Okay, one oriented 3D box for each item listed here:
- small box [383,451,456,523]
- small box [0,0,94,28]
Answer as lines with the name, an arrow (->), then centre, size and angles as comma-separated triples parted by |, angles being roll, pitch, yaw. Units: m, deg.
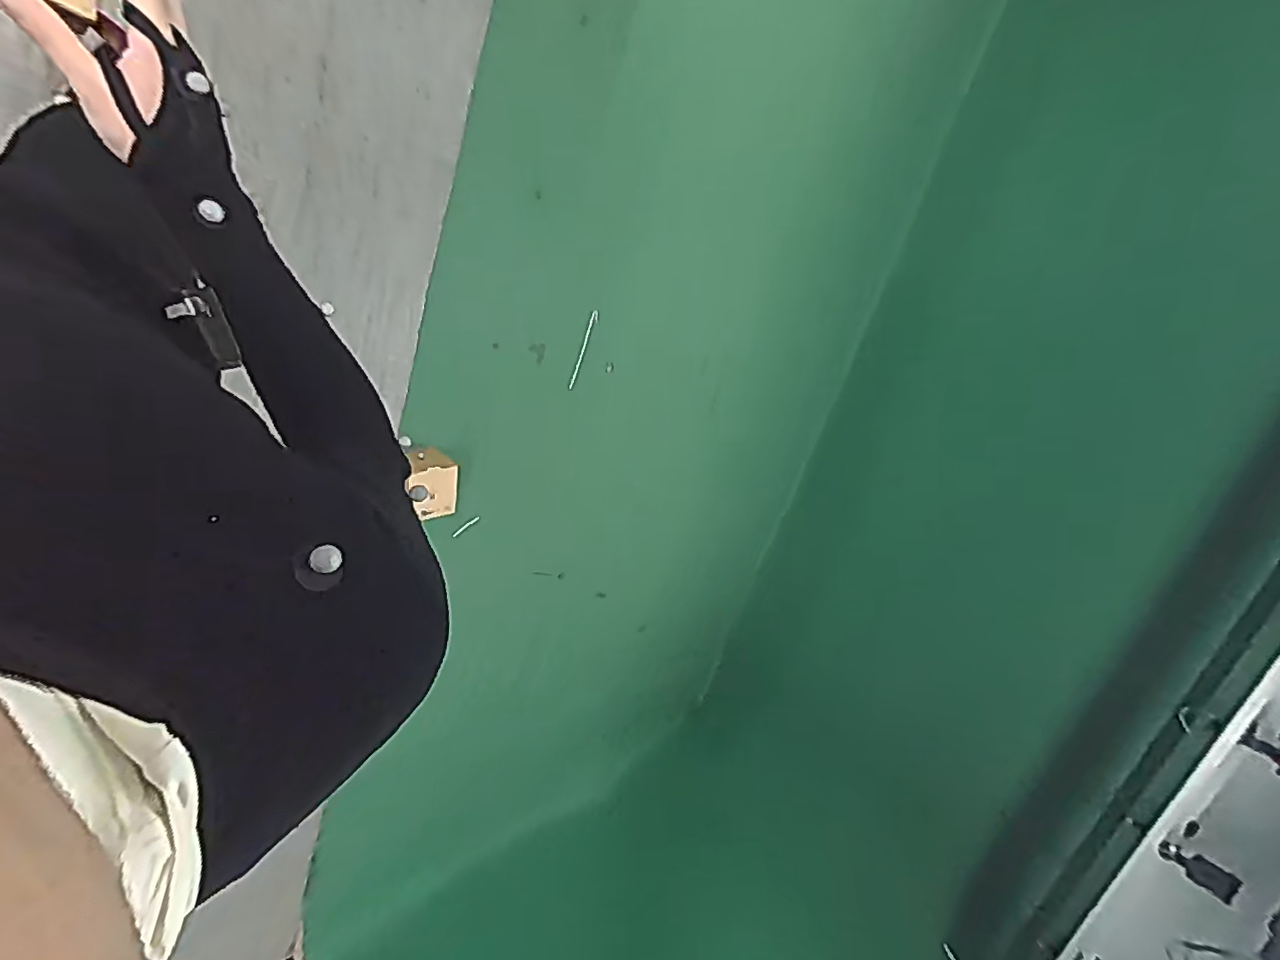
small box -> -0.719, 0.013, 1.758 | 0.168, 0.176, 0.179 | -13, 123, -45
small box -> -0.431, -0.415, 0.314 | 0.168, 0.176, 0.179 | 4, 110, -50
